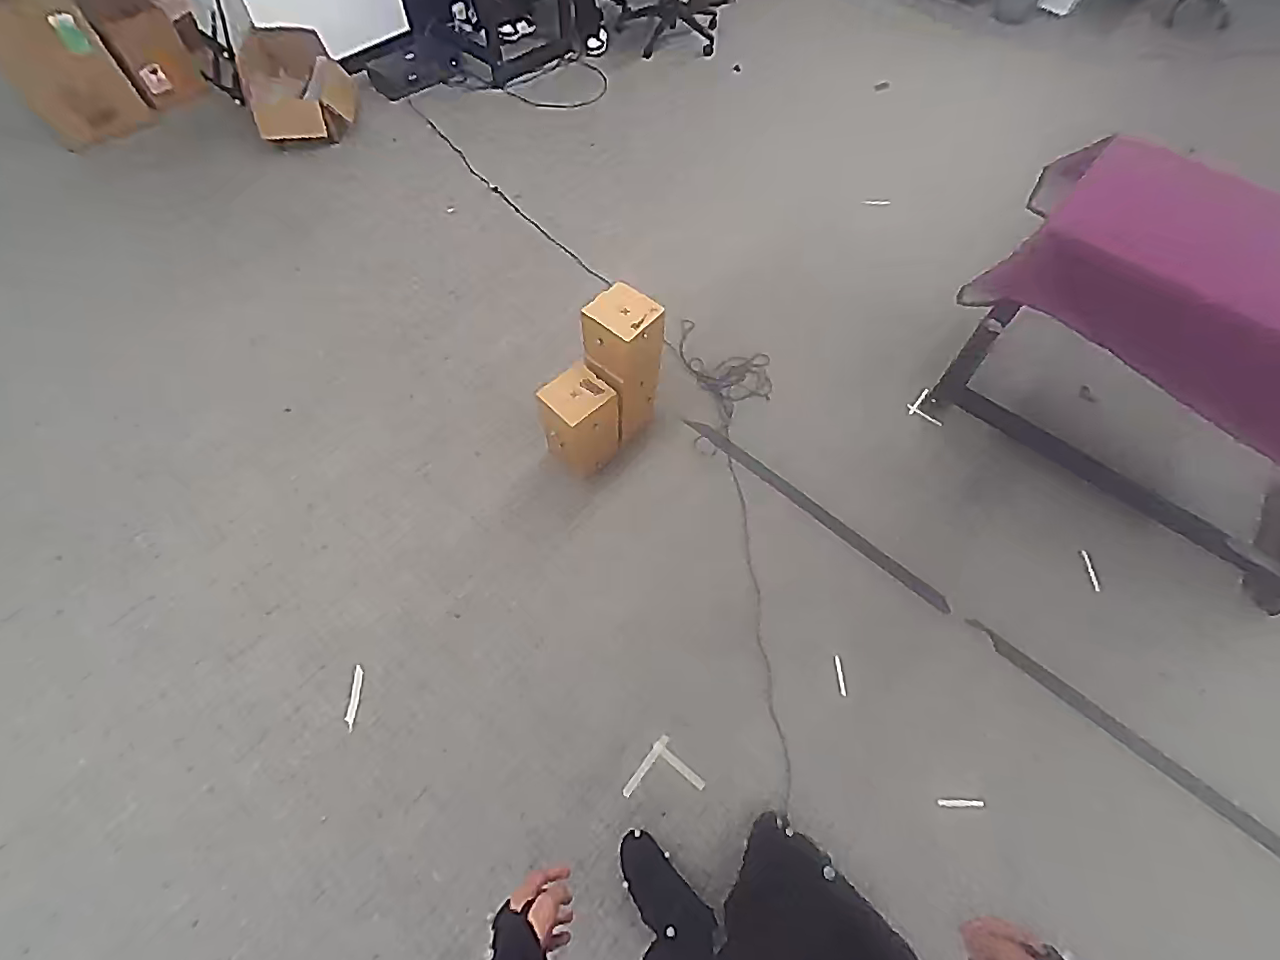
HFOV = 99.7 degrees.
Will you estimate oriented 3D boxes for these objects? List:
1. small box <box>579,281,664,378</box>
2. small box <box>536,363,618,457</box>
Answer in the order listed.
[{"bbox_3d":[-0.050,-0.422,1.537,0.179,0.176,0.168,36,67,18],"label":"small box"},{"bbox_3d":[-0.181,-0.204,1.603,0.179,0.176,0.168,-41,69,-19],"label":"small box"}]
